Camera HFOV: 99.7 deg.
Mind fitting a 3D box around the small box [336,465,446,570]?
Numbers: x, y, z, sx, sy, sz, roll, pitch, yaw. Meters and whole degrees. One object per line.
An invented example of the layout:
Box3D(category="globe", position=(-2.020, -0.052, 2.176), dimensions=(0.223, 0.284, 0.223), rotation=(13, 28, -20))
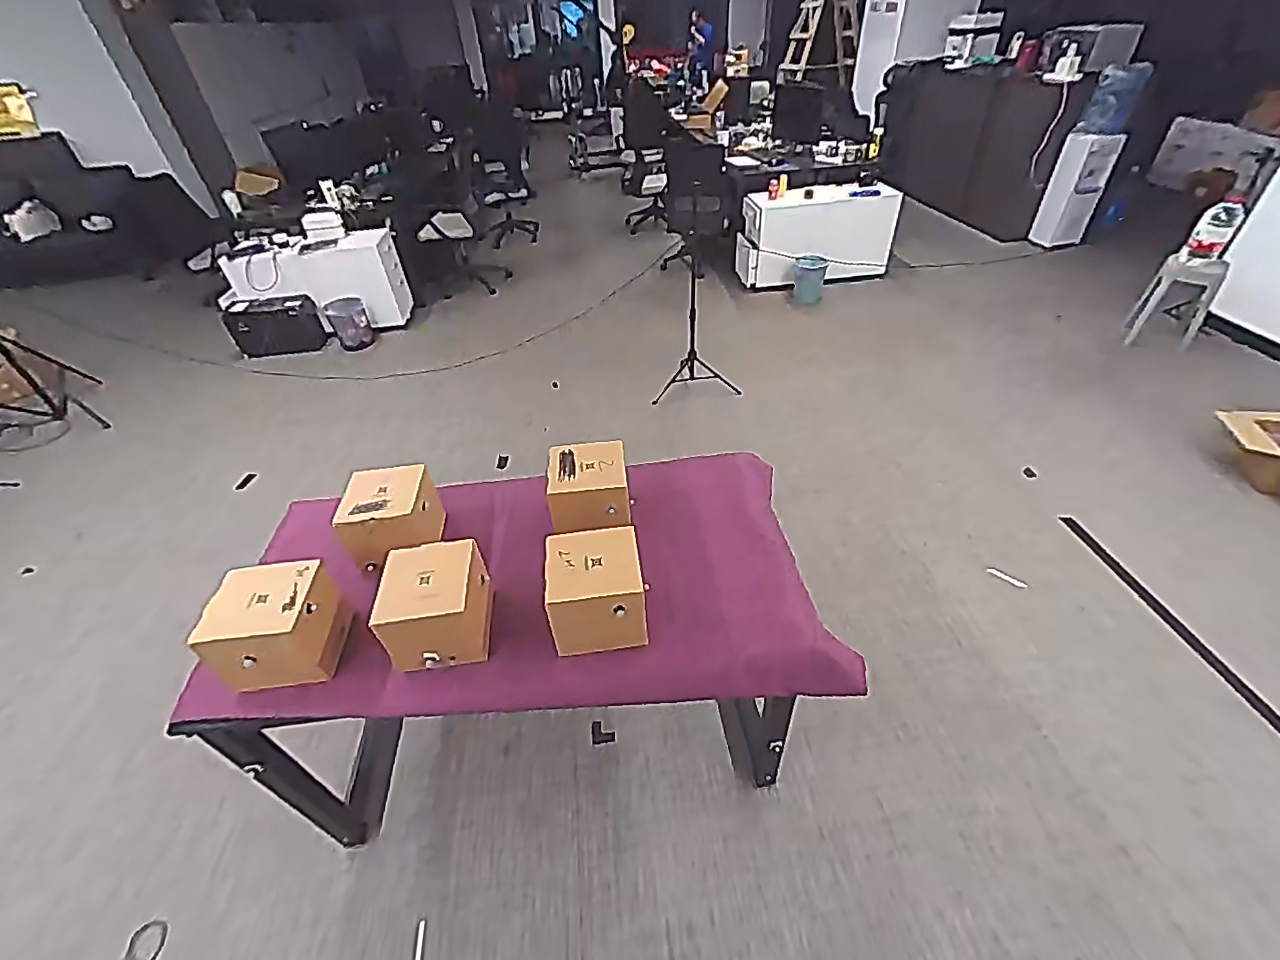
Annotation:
Box3D(category="small box", position=(-0.561, 0.092, 1.246), dimensions=(0.168, 0.176, 0.179), rotation=(-7, 41, -3))

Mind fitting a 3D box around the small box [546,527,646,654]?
Box3D(category="small box", position=(-0.081, 0.216, 1.054), dimensions=(0.179, 0.176, 0.168), rotation=(-7, 40, -2))

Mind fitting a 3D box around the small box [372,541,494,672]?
Box3D(category="small box", position=(-0.389, 0.245, 1.054), dimensions=(0.168, 0.176, 0.179), rotation=(-8, 43, -3))

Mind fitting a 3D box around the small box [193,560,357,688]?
Box3D(category="small box", position=(-0.682, 0.279, 1.037), dimensions=(0.179, 0.176, 0.168), rotation=(-7, 41, -2))
